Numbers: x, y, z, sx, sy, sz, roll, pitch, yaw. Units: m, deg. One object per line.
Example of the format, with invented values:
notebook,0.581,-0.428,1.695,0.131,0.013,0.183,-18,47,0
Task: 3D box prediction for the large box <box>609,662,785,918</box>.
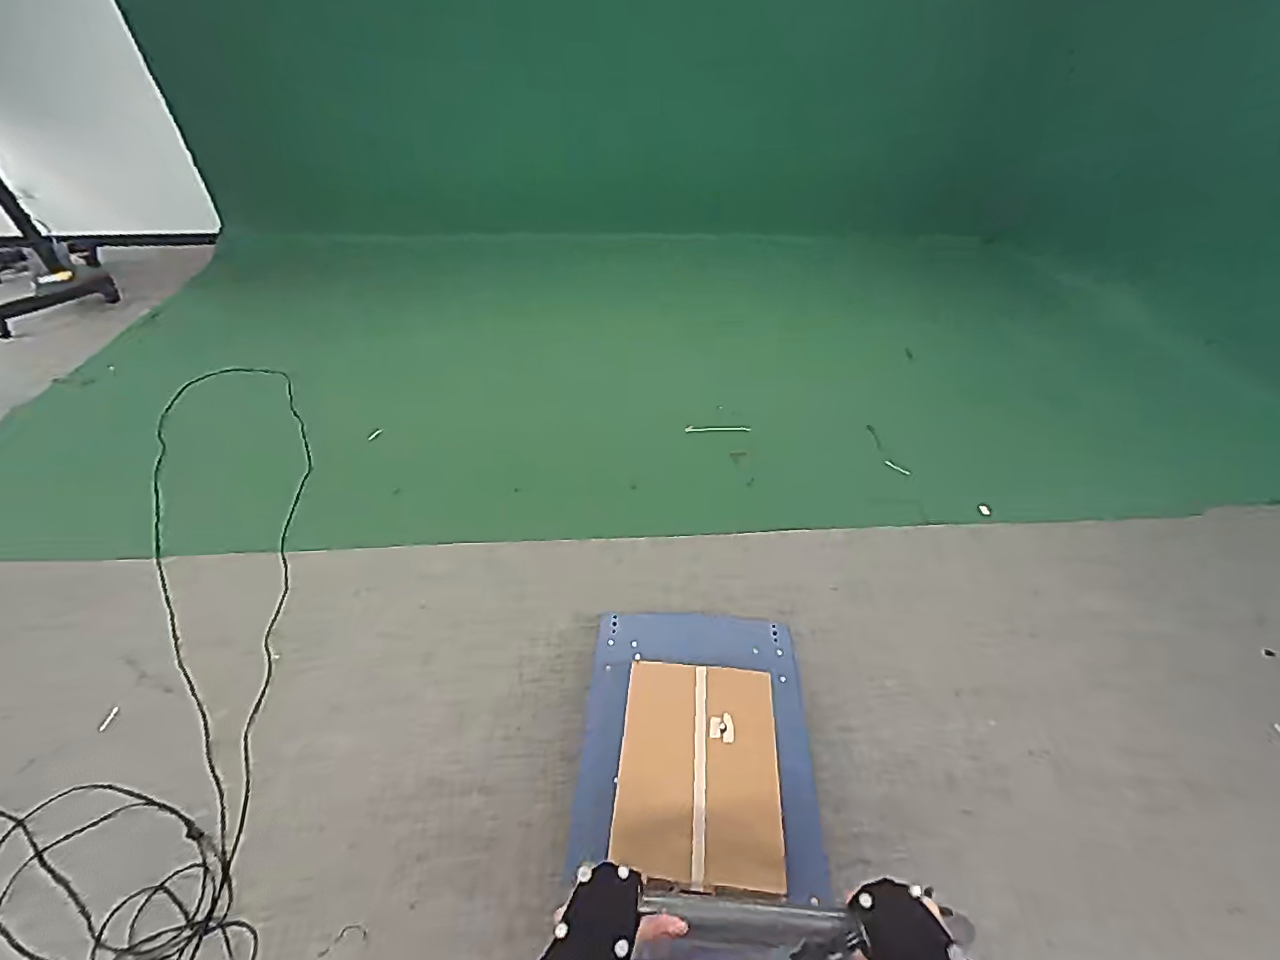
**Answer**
large box,0.114,0.667,1.179,0.320,0.320,0.408,5,43,3
